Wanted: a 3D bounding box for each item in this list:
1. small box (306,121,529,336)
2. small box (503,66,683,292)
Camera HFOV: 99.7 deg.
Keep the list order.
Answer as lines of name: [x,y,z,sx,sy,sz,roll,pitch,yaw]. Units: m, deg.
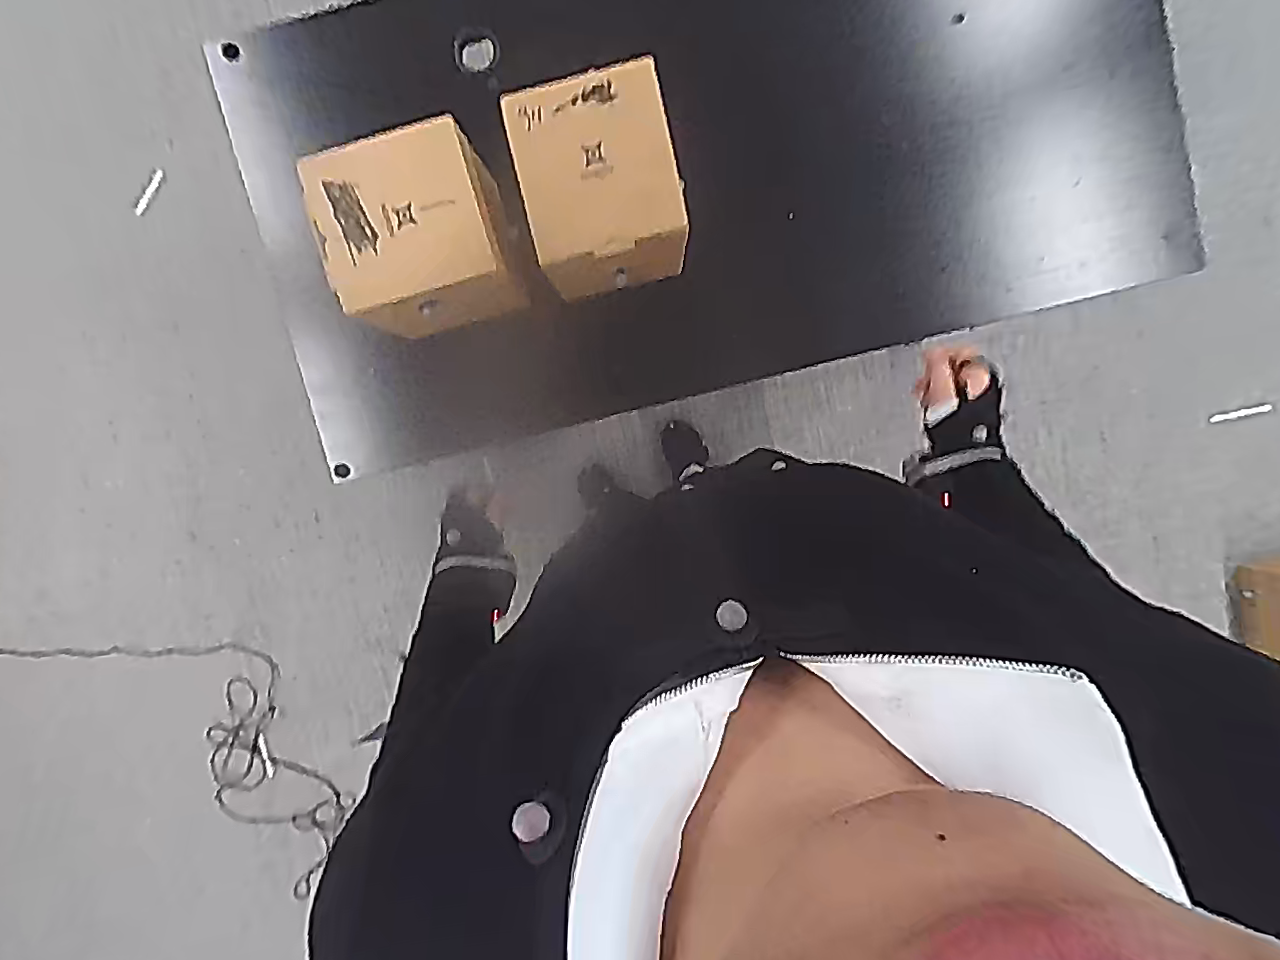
small box: [-0.255,-0.288,0.663,0.179,0.176,0.168,-16,95,2]
small box: [-0.047,-0.339,0.652,0.168,0.176,0.179,-13,96,2]
